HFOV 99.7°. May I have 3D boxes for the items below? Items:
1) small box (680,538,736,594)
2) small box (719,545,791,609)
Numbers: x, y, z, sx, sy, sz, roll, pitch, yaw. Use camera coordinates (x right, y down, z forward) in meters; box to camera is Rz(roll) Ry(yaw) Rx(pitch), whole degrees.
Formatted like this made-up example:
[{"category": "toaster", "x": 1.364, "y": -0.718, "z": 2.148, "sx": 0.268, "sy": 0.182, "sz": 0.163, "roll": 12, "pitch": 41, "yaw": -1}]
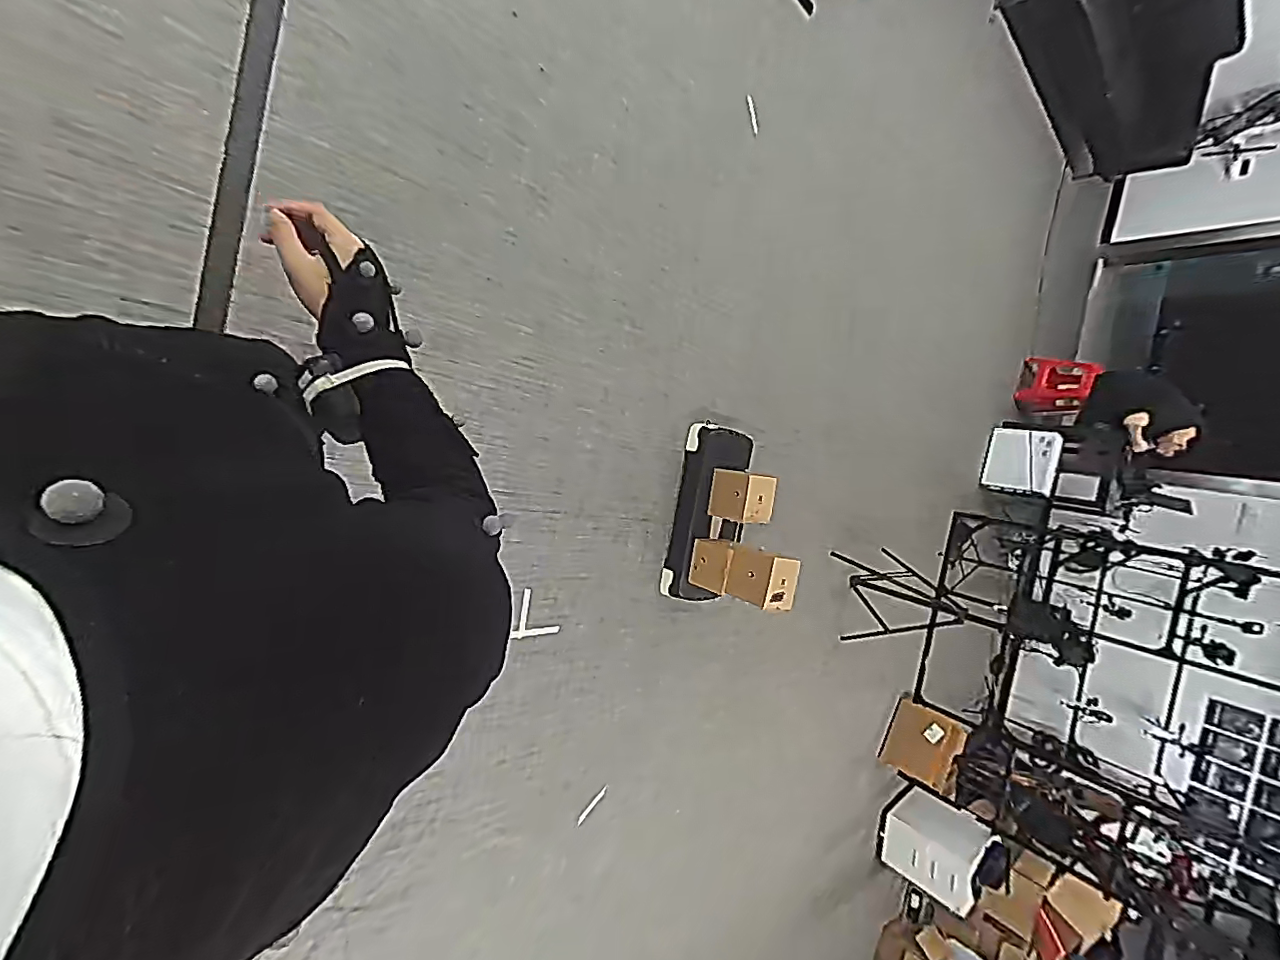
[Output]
[{"category": "small box", "x": 0.278, "y": 0.315, "z": 1.999, "sx": 0.179, "sy": 0.176, "sz": 0.168, "roll": 6, "pitch": 95, "yaw": -42}, {"category": "small box", "x": 0.397, "y": 0.338, "z": 1.887, "sx": 0.168, "sy": 0.176, "sz": 0.179, "roll": 14, "pitch": 89, "yaw": -42}]
